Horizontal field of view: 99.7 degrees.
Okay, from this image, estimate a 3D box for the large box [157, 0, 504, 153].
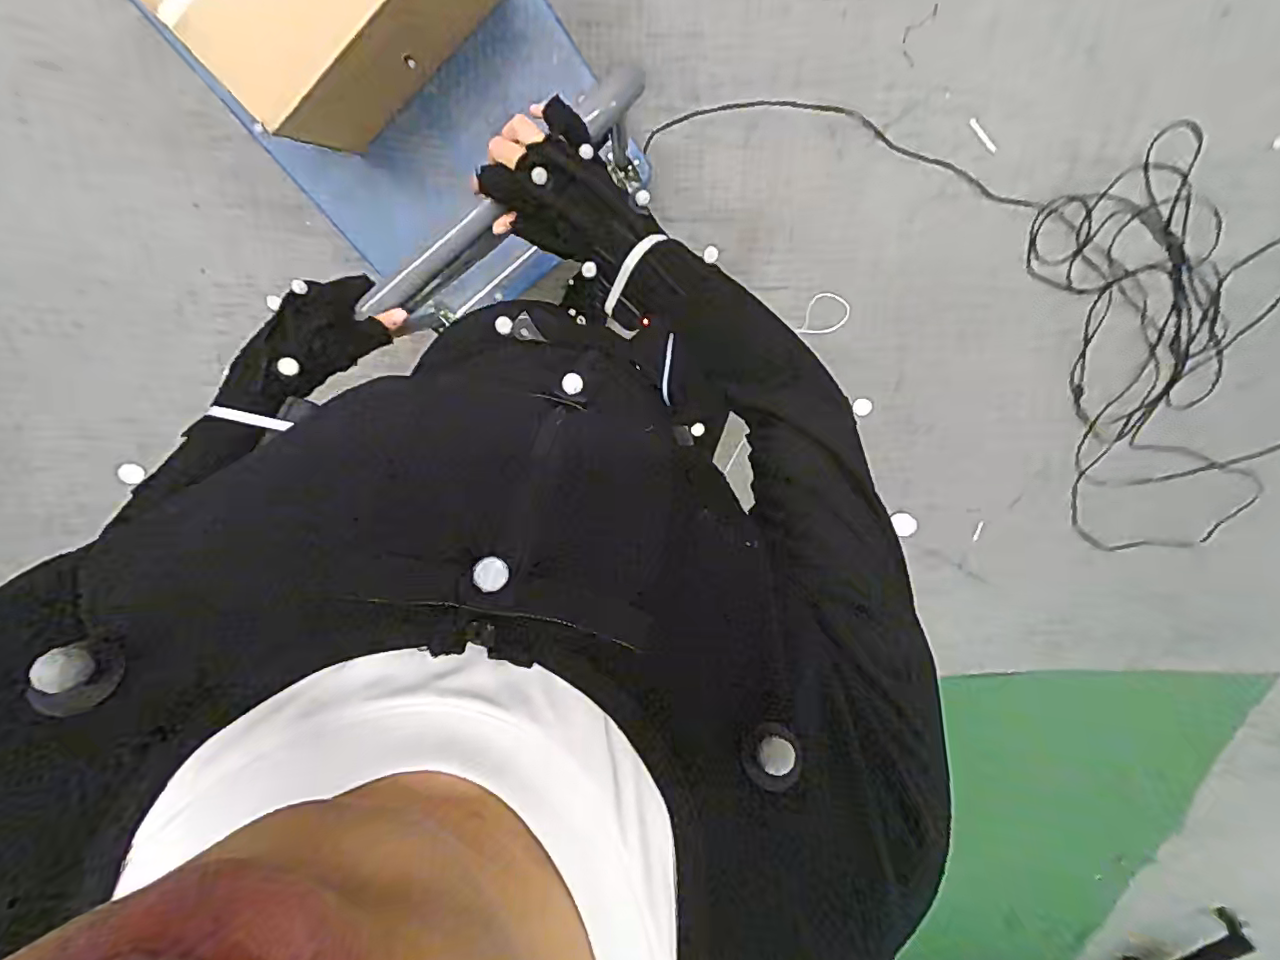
[{"bbox_3d":[-0.453,-0.777,0.805,0.408,0.320,0.320,-37,112,15],"label":"large box"}]
